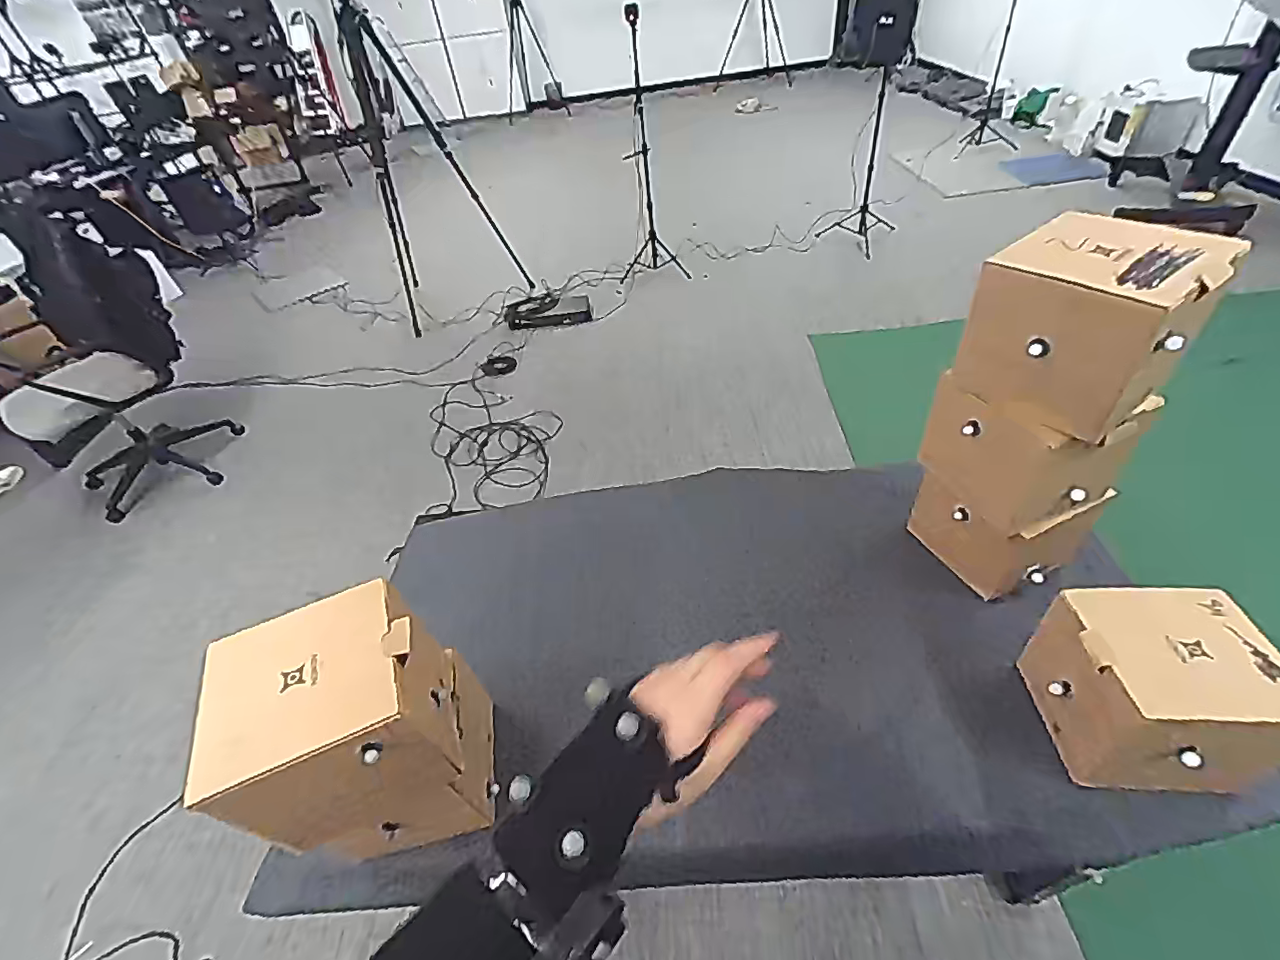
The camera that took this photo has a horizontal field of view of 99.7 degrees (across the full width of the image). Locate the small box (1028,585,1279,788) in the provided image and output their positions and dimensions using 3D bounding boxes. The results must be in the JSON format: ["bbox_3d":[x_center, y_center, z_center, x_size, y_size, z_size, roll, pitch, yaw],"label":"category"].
[{"bbox_3d":[0.594,0.241,0.635,0.179,0.176,0.168,-2,41,9],"label":"small box"}]

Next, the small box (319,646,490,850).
[{"bbox_3d":[-0.296,0.340,0.686,0.179,0.176,0.168,-13,45,-4],"label":"small box"}]

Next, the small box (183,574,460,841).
[{"bbox_3d":[-0.311,0.236,0.561,0.179,0.176,0.168,-22,46,-13],"label":"small box"}]

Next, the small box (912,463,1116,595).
[{"bbox_3d":[0.562,0.045,0.845,0.168,0.176,0.179,-23,48,-10],"label":"small box"}]

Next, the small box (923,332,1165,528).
[{"bbox_3d":[0.519,-0.067,0.731,0.168,0.176,0.179,-20,46,-6],"label":"small box"}]
